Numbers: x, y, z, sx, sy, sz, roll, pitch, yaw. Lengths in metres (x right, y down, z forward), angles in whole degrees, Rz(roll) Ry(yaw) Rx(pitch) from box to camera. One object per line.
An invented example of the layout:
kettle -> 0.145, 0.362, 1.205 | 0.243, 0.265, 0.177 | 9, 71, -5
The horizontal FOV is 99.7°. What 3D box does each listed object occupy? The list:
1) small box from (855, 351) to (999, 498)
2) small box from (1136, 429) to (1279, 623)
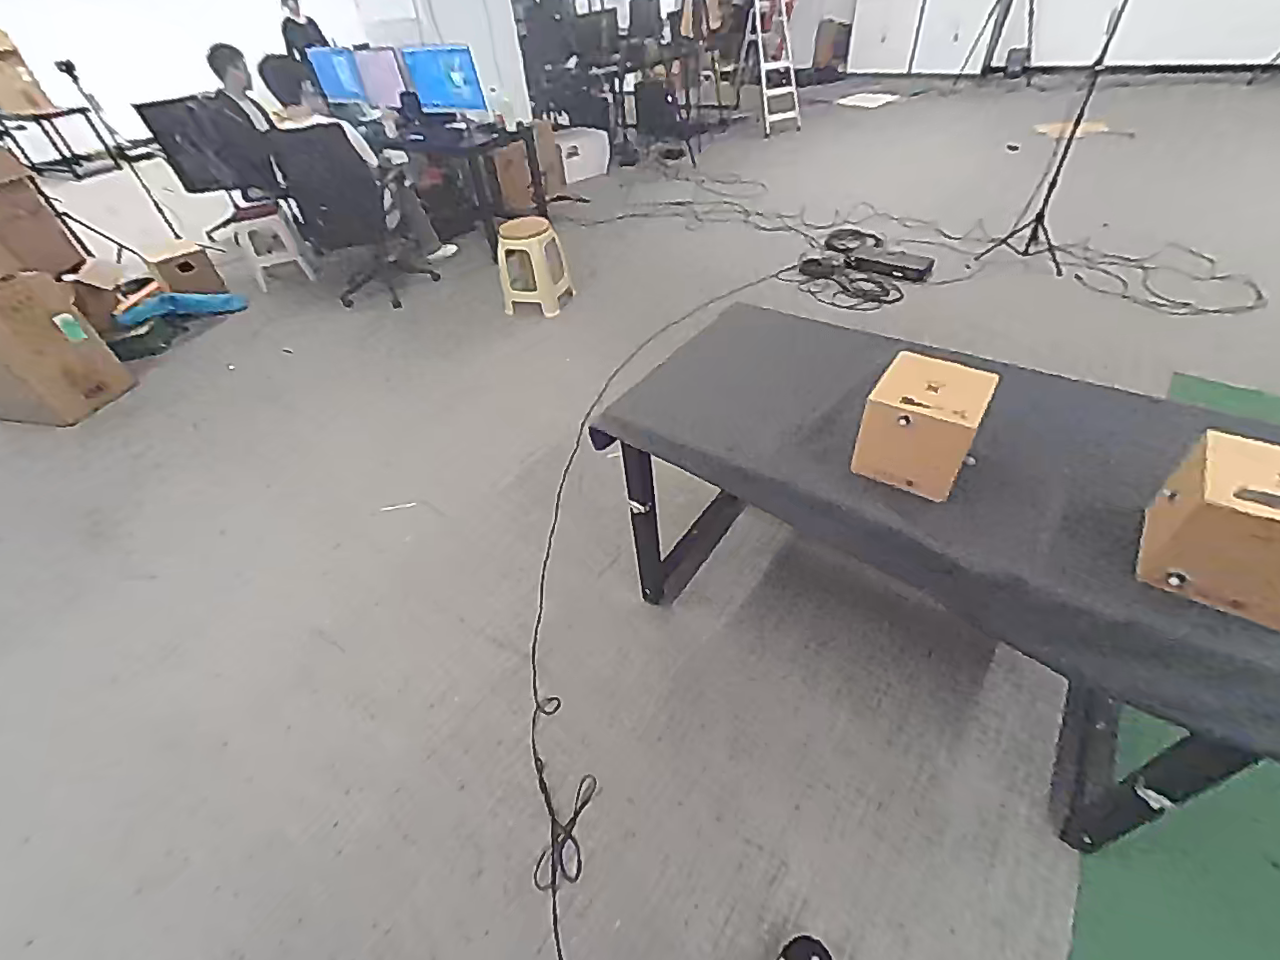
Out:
small box -> 0.503, -0.100, 0.965 | 0.168, 0.176, 0.179 | 24, 50, 29
small box -> 0.833, 0.063, 0.747 | 0.168, 0.176, 0.179 | 25, 50, 30
